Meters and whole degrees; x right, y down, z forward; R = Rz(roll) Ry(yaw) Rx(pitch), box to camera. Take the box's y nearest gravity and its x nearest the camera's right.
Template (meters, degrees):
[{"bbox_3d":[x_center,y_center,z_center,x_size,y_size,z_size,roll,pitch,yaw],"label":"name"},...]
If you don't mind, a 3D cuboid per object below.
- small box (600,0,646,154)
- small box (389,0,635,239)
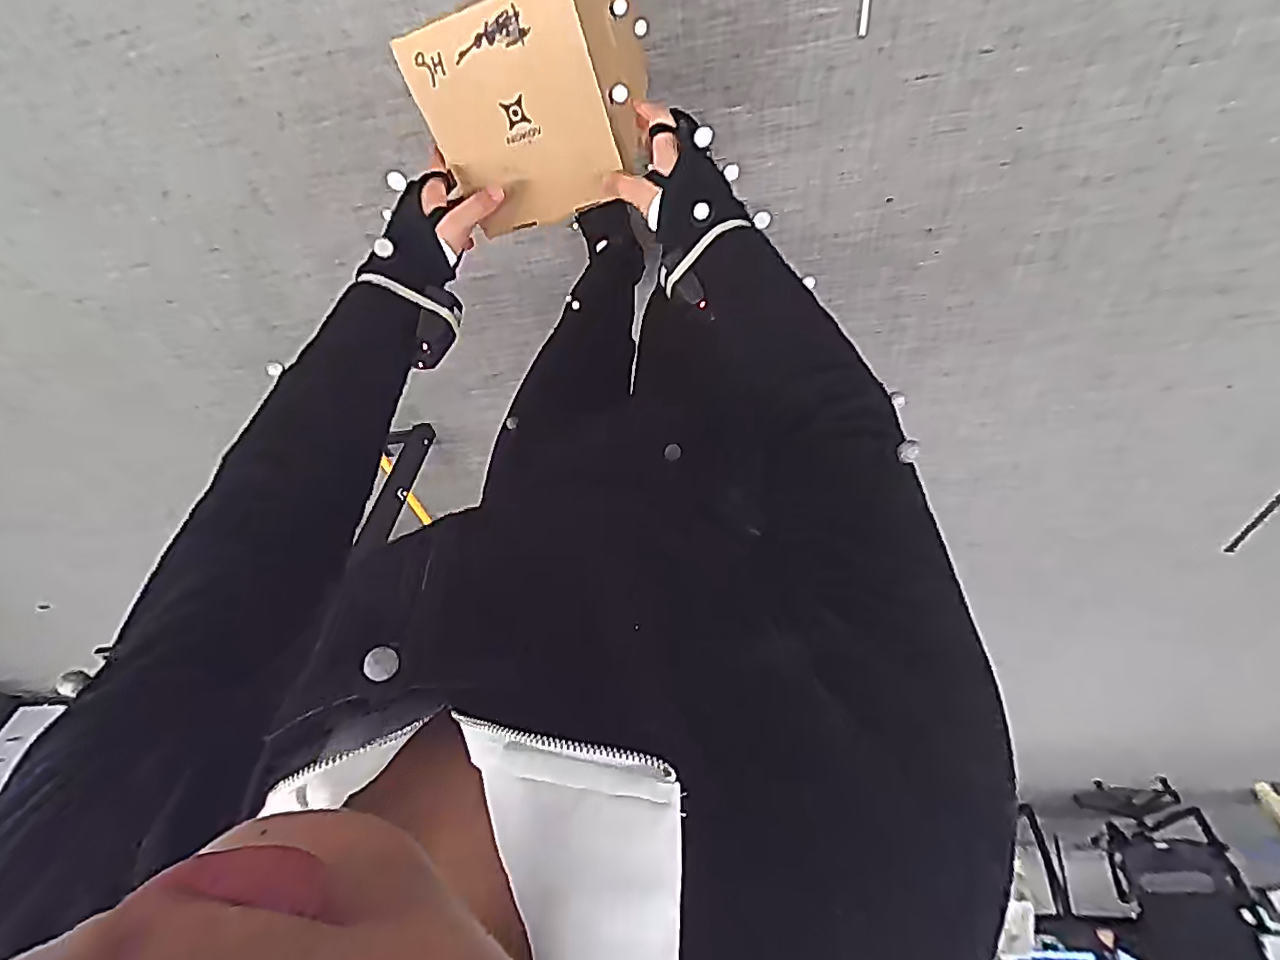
[{"bbox_3d":[-0.095,-0.499,0.666,0.168,0.176,0.179,-10,135,15],"label":"small box"},{"bbox_3d":[-0.108,-0.384,0.550,0.168,0.176,0.179,-10,136,15],"label":"small box"}]
